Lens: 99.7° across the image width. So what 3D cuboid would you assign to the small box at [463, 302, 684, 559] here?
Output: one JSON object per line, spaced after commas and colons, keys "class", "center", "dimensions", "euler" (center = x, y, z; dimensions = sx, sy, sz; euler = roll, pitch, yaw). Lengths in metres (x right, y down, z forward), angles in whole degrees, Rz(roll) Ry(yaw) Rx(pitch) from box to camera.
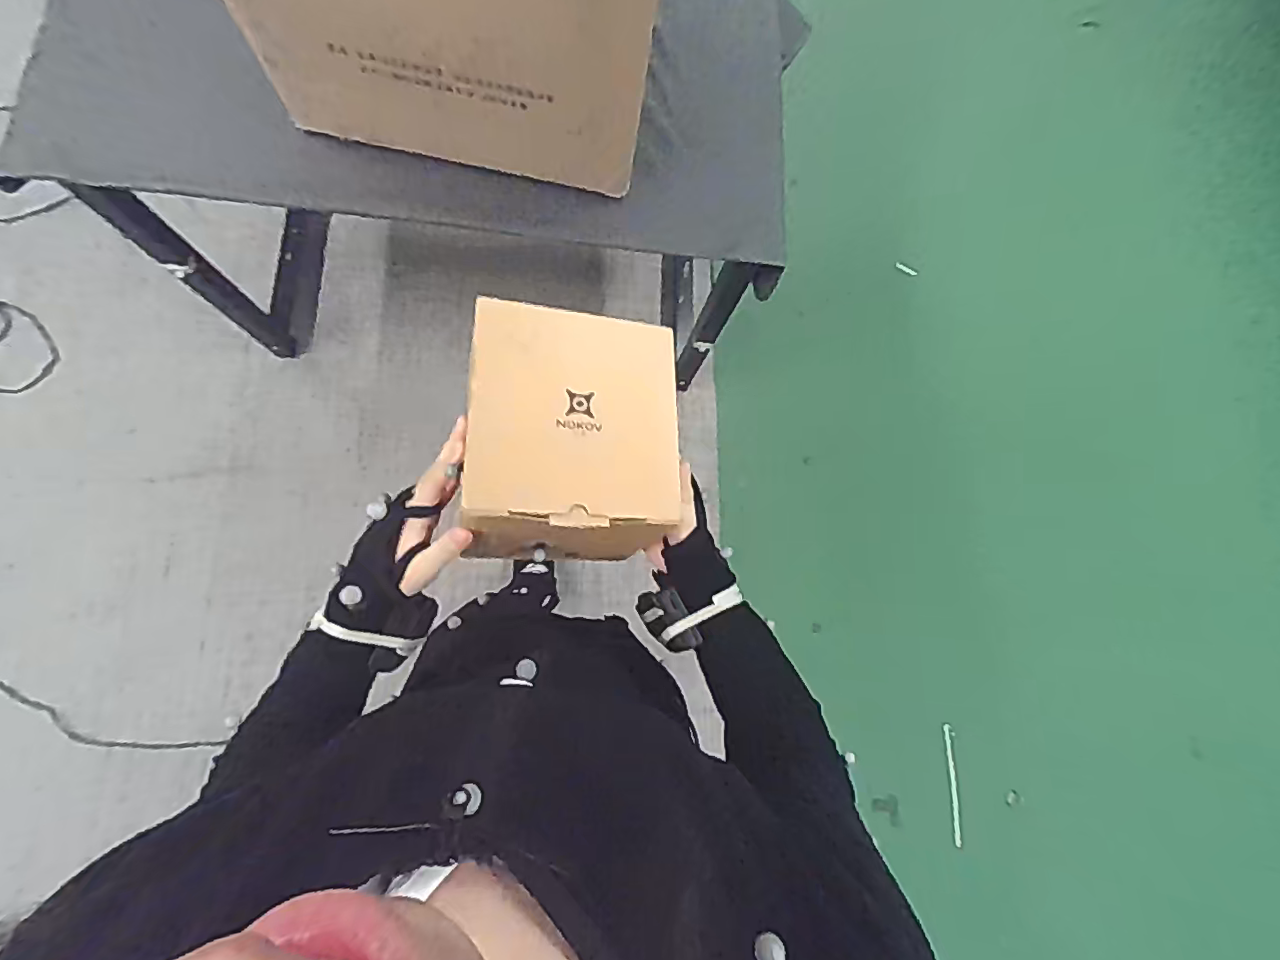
{"class": "small box", "center": [-0.070, -0.029, 0.497], "dimensions": [0.168, 0.176, 0.179], "euler": [4, 72, -18]}
